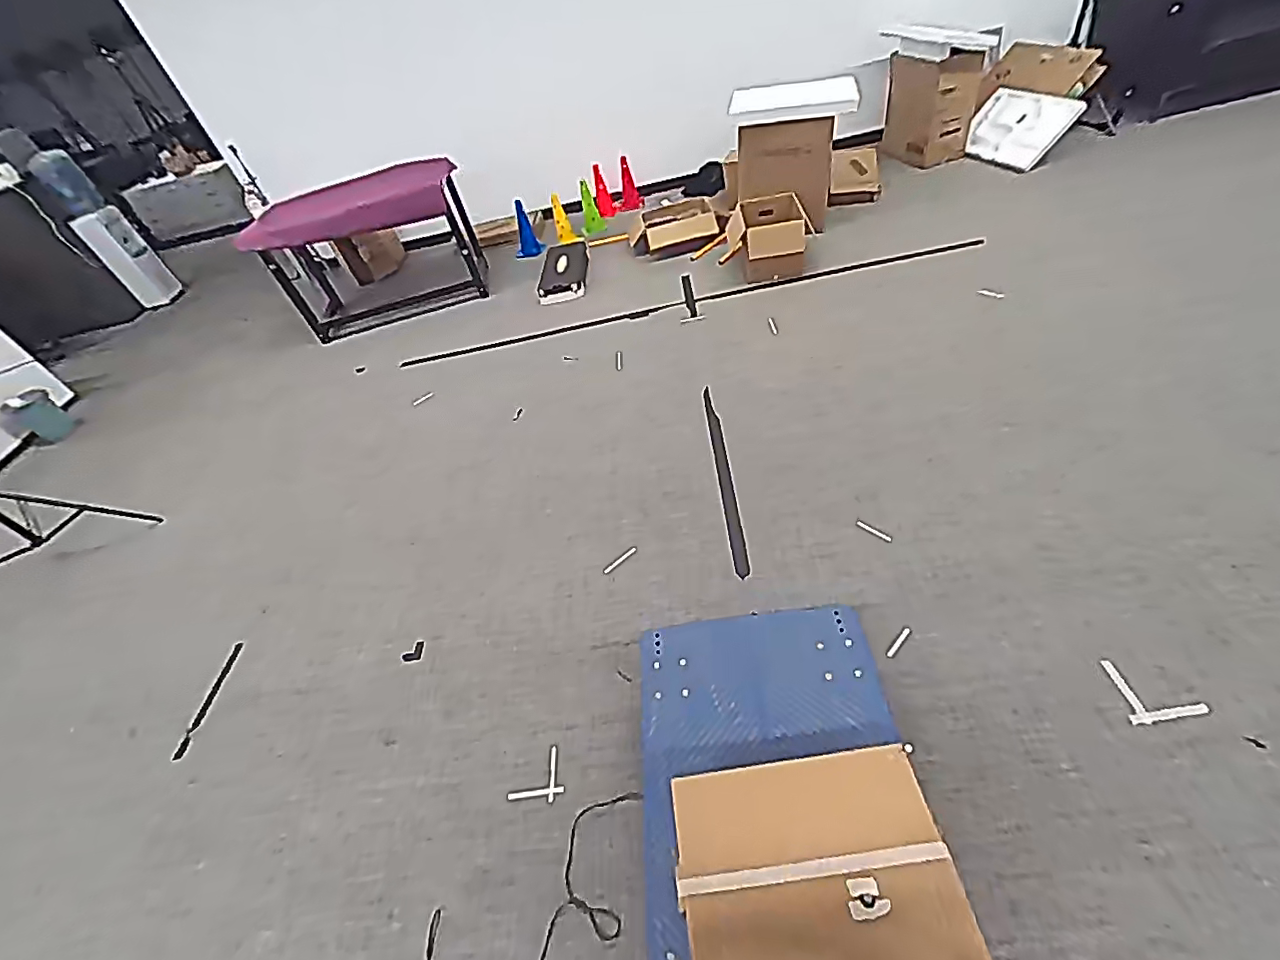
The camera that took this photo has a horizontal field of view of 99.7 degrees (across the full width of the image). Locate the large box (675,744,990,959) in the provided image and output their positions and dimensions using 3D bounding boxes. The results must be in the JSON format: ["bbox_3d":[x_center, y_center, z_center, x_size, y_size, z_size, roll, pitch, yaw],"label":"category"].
[{"bbox_3d":[0.294,0.707,0.943,0.408,0.320,0.320,-11,45,4],"label":"large box"}]
